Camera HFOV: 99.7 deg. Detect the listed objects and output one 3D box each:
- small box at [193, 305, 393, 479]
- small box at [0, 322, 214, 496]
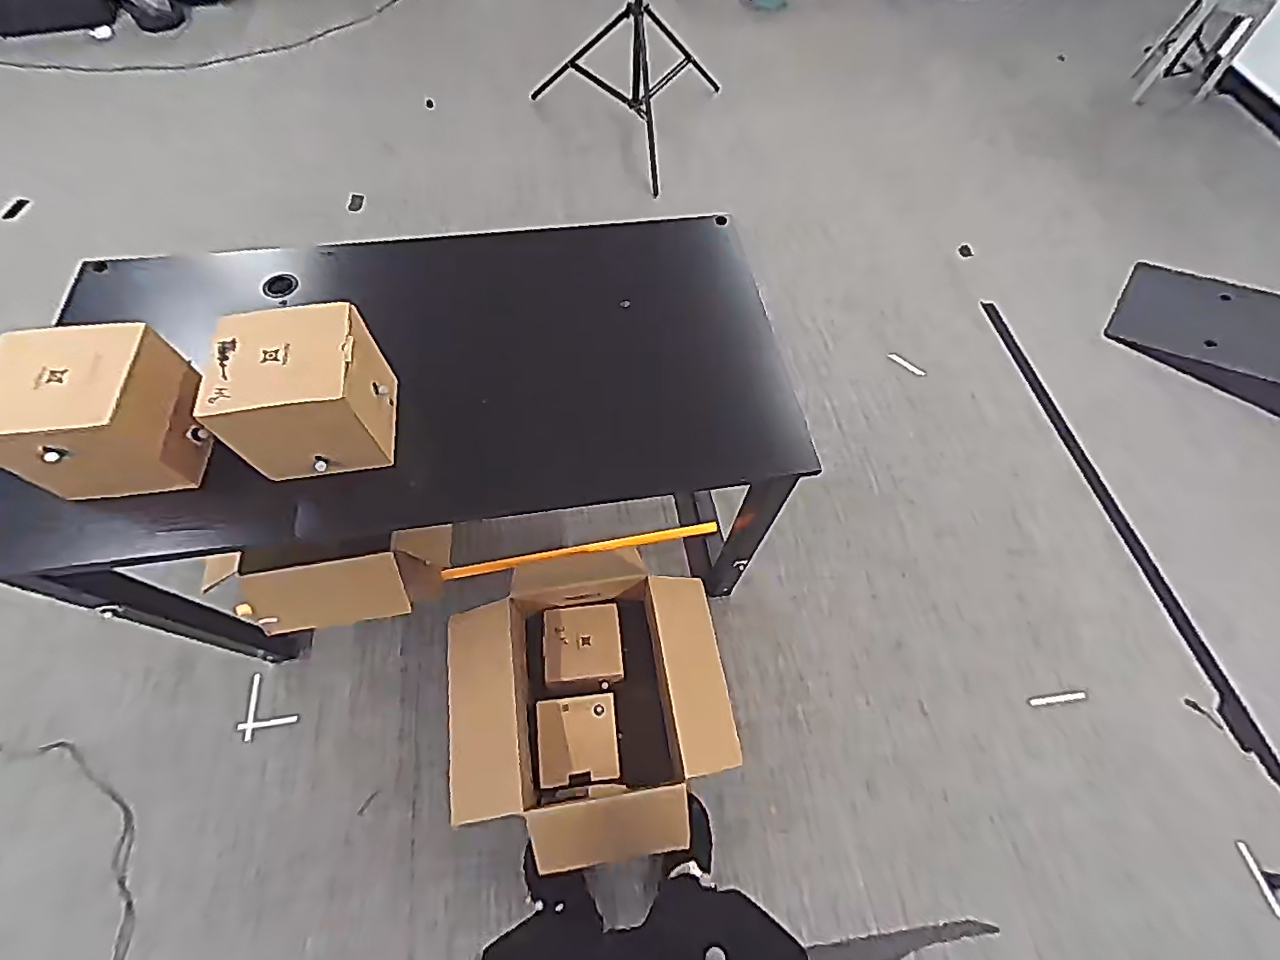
[{"bbox_3d":[-0.461,-0.118,0.755,0.179,0.176,0.168,-8,62,-7],"label":"small box"},{"bbox_3d":[-0.721,-0.089,0.730,0.179,0.176,0.168,-6,63,-6],"label":"small box"}]
